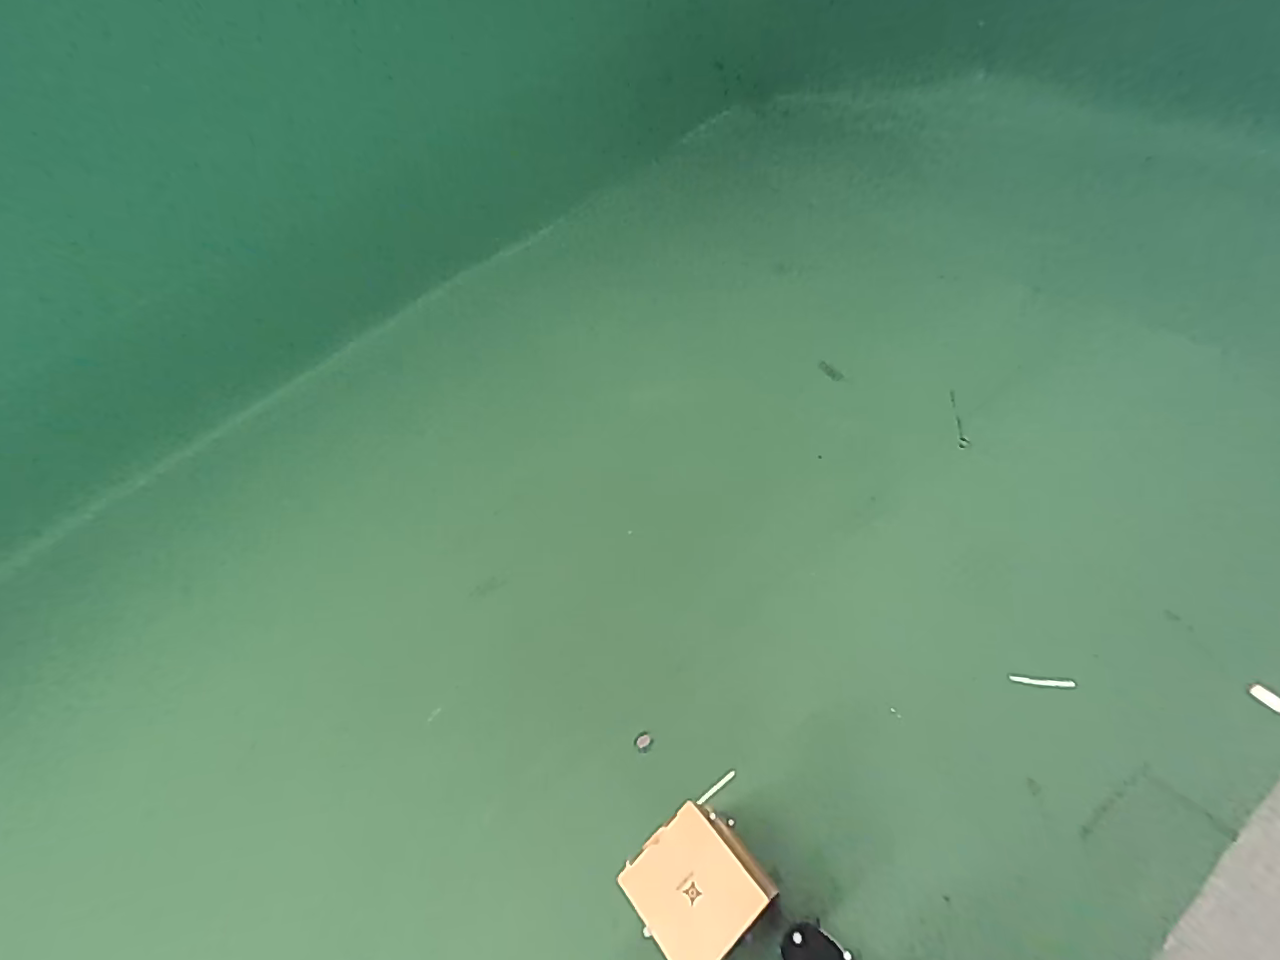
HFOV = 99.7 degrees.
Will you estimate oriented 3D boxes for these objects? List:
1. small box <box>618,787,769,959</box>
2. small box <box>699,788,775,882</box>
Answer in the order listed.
[{"bbox_3d":[0.096,0.648,0.897,0.168,0.176,0.179,-42,55,-13],"label":"small box"},{"bbox_3d":[0.139,0.729,1.032,0.168,0.176,0.179,-41,56,-12],"label":"small box"}]
